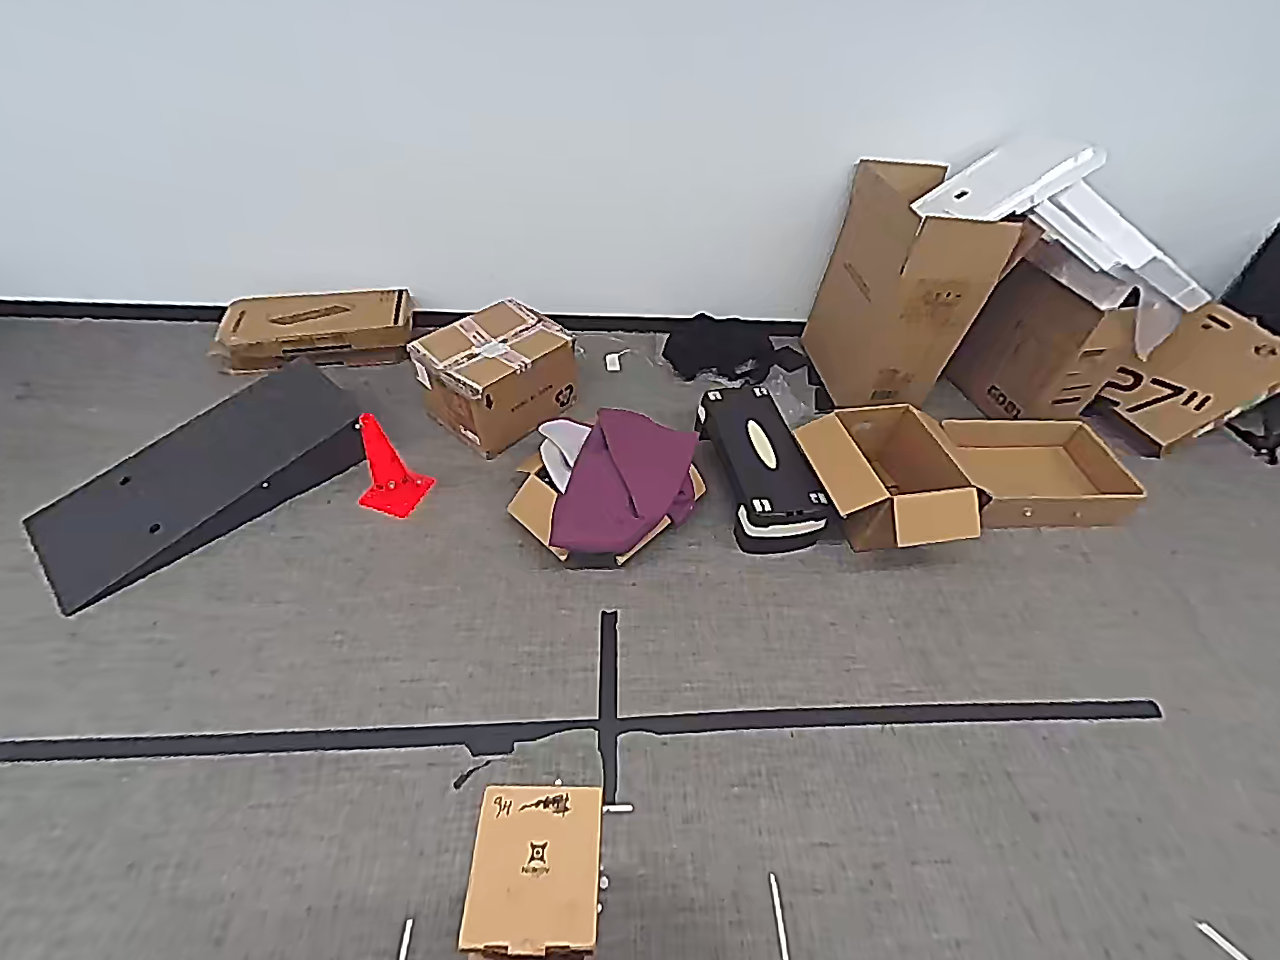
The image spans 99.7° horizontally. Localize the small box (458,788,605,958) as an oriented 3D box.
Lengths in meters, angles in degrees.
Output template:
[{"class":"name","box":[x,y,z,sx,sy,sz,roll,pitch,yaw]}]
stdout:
[{"class":"small box","box":[-0.136,0.546,0.750,0.168,0.176,0.179,2,48,-2]}]
